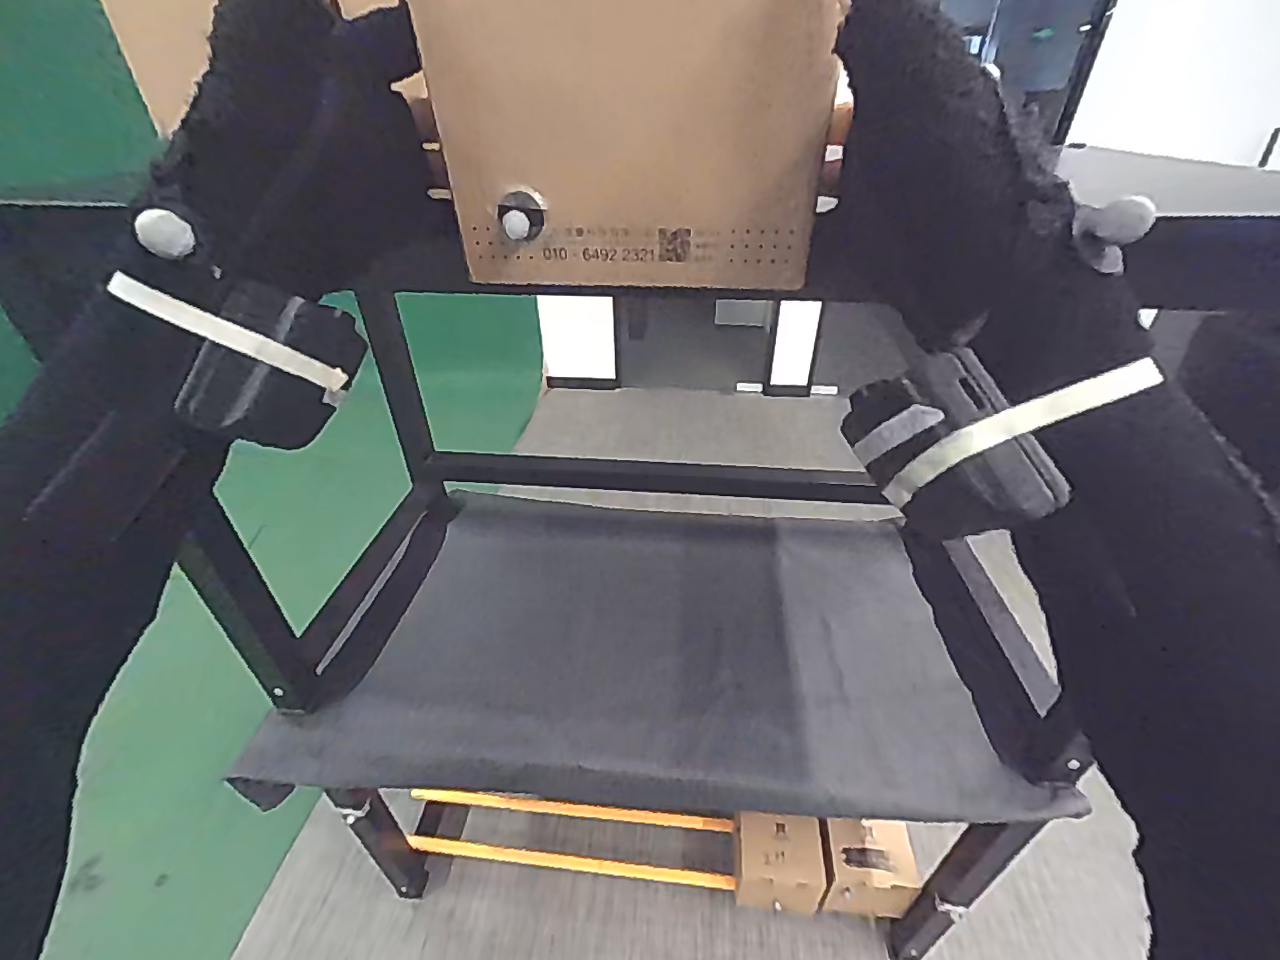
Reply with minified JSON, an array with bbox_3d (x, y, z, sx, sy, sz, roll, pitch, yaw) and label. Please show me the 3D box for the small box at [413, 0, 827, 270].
[{"bbox_3d":[0.001,-0.218,0.280,0.168,0.176,0.179,3,39,6],"label":"small box"}]
